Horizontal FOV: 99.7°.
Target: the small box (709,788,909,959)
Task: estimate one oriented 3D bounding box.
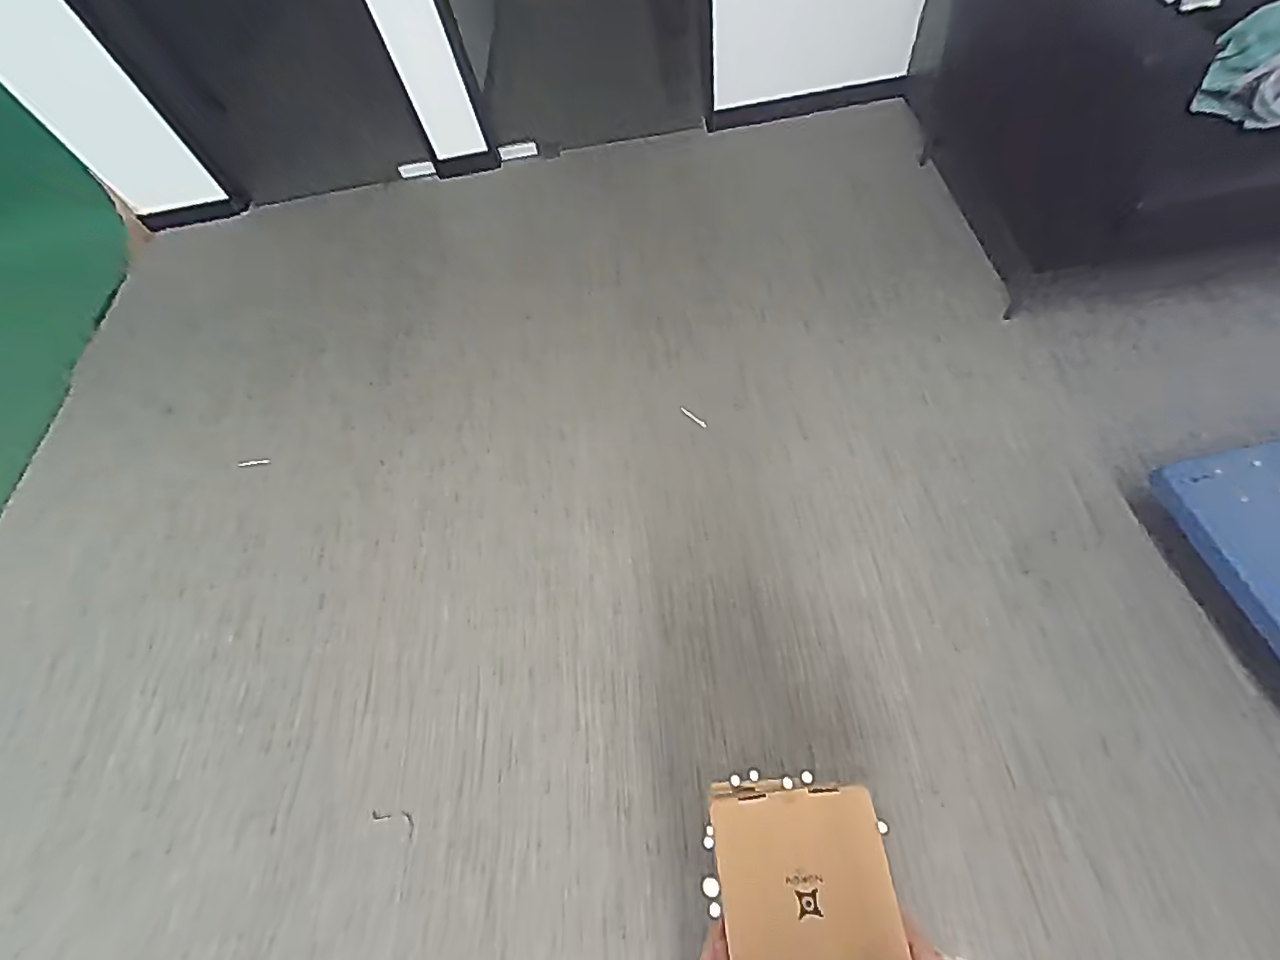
[{"bbox_3d":[0.169,0.439,0.581,0.168,0.176,0.179,-8,60,4],"label":"small box"}]

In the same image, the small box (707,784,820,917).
[{"bbox_3d":[0.204,0.588,0.870,0.179,0.176,0.168,-5,61,5],"label":"small box"}]

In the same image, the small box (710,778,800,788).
[{"bbox_3d":[0.223,0.663,1.015,0.168,0.176,0.179,-6,59,5],"label":"small box"}]
